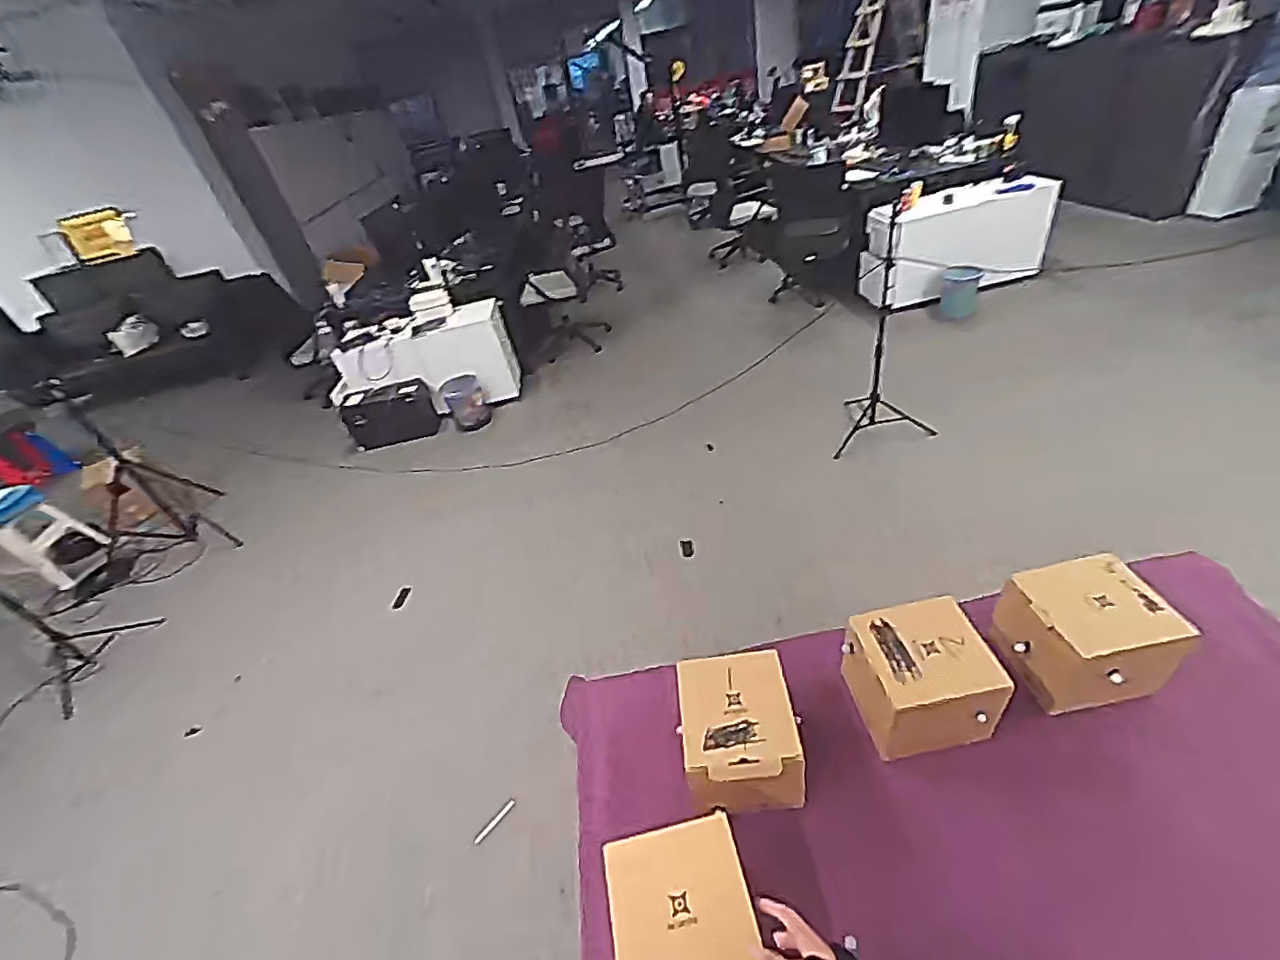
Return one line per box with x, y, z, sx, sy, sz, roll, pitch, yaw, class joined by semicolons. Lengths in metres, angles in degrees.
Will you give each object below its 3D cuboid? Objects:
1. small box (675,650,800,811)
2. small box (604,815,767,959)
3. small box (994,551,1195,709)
0.153;0.400;0.854;0.168;0.176;0.179;-9;37;5;small box
0.057;0.561;0.672;0.168;0.176;0.179;-13;38;-4;small box
0.712;0.246;0.878;0.179;0.176;0.168;-13;39;2;small box
